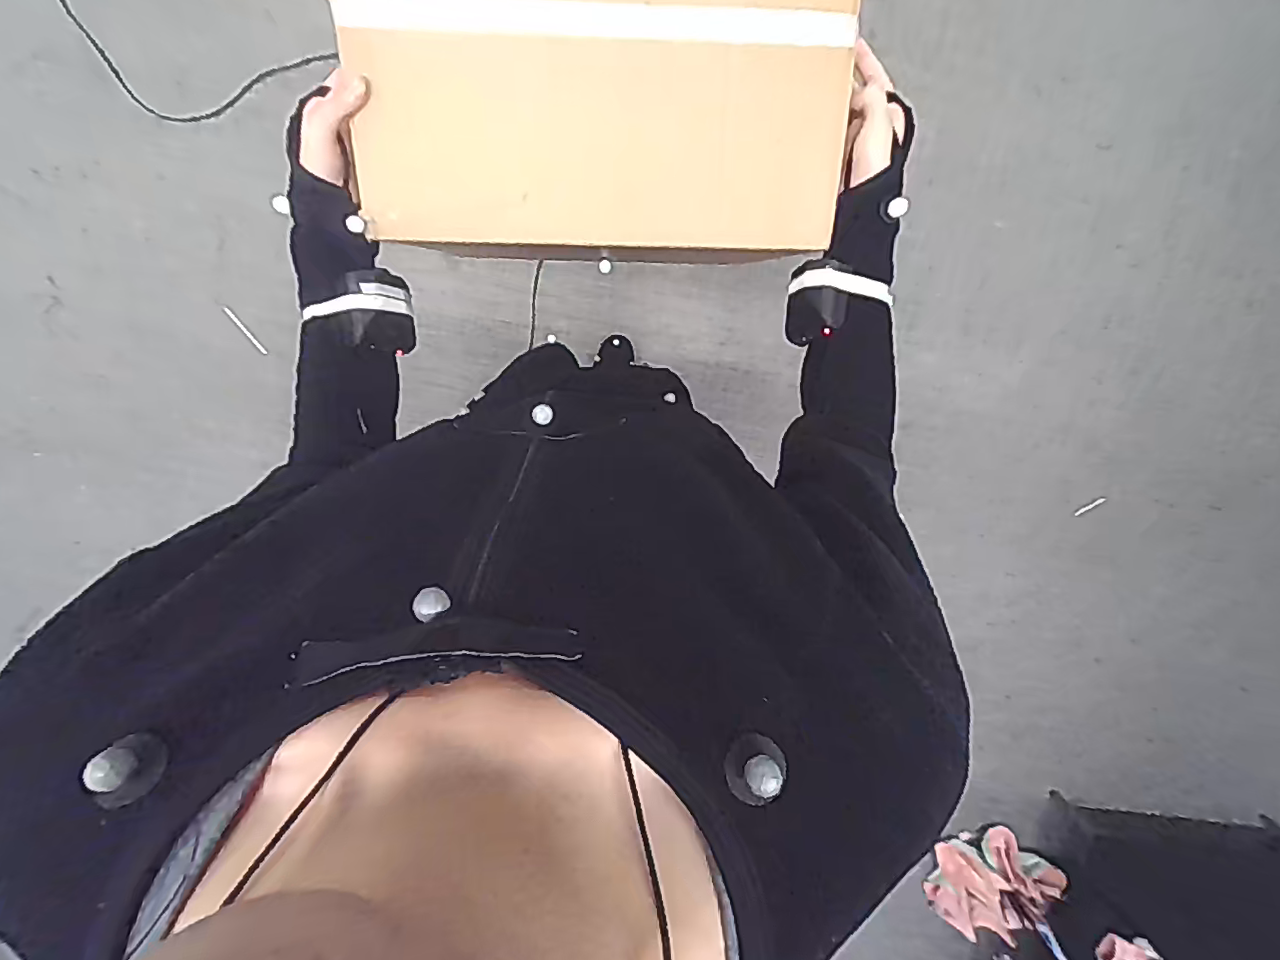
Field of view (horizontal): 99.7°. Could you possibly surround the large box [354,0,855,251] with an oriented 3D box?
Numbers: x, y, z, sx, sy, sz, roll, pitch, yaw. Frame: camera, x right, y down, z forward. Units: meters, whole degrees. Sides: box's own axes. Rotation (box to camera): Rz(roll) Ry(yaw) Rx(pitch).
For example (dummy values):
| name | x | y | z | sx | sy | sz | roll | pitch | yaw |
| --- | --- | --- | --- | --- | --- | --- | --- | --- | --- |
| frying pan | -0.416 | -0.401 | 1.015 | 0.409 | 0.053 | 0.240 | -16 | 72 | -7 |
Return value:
| name | x | y | z | sx | sy | sz | roll | pitch | yaw |
| --- | --- | --- | --- | --- | --- | --- | --- | --- | --- |
| large box | -0.031 | -0.415 | 0.572 | 0.408 | 0.320 | 0.320 | 0 | 109 | -3 |
